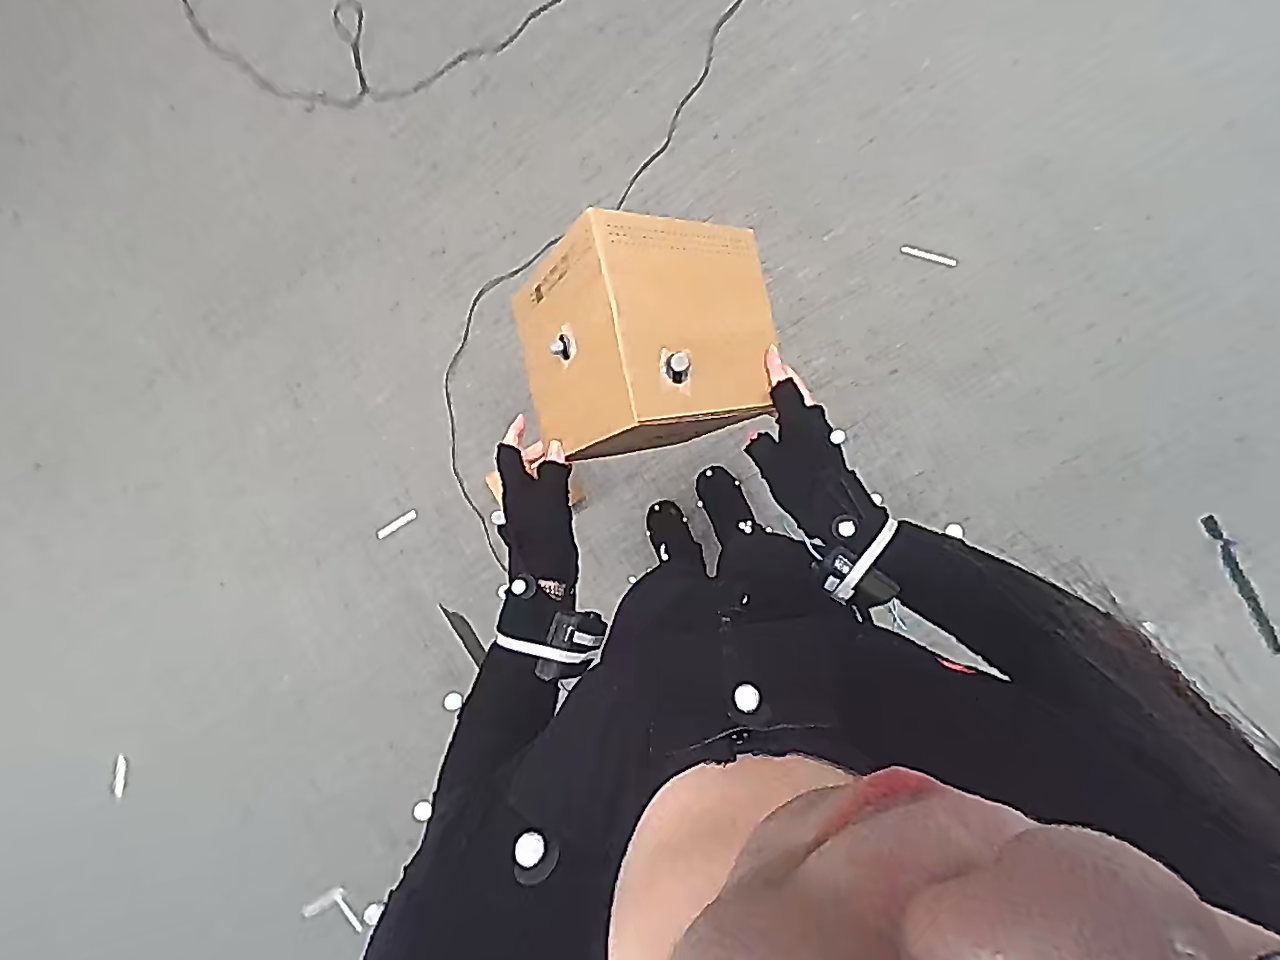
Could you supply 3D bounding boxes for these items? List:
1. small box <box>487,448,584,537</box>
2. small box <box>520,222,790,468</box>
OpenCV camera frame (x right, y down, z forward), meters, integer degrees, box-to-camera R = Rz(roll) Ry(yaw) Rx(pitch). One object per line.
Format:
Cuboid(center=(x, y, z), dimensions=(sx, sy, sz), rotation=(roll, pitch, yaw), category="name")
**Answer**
Cuboid(center=(-0.272, 0.026, 1.445), dimensions=(0.168, 0.176, 0.179), rotation=(-30, 93, 9), category="small box")
Cuboid(center=(0.006, -0.118, 0.506), dimensions=(0.179, 0.168, 0.176), rotation=(-12, 90, -34), category="small box")
